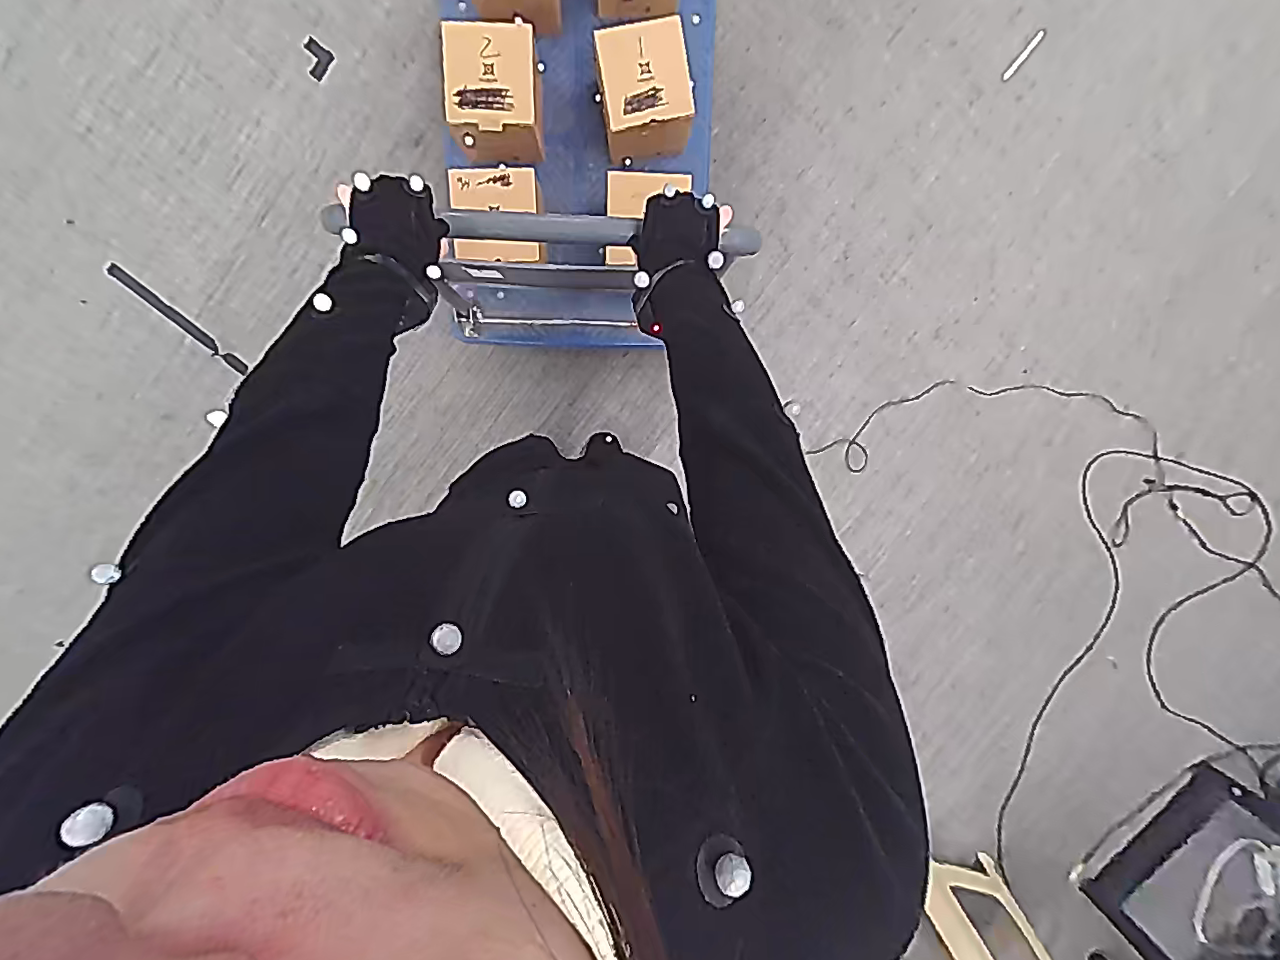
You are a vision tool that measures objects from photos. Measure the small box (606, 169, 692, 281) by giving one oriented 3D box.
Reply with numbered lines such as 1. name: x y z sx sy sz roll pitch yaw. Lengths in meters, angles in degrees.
1. small box: 0.013 -0.526 1.141 0.168 0.176 0.179 1 99 -4

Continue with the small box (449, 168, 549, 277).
1. small box: -0.284 -0.524 1.124 0.168 0.176 0.179 -3 100 -3

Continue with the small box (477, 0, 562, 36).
1. small box: -0.239 -1.015 1.046 0.168 0.176 0.179 2 100 -3

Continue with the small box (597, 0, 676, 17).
1. small box: -0.007 -1.048 1.053 0.168 0.176 0.179 -2 99 -2

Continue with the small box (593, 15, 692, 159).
1. small box: 0.005 -0.780 1.097 0.168 0.176 0.179 -11 99 -1
